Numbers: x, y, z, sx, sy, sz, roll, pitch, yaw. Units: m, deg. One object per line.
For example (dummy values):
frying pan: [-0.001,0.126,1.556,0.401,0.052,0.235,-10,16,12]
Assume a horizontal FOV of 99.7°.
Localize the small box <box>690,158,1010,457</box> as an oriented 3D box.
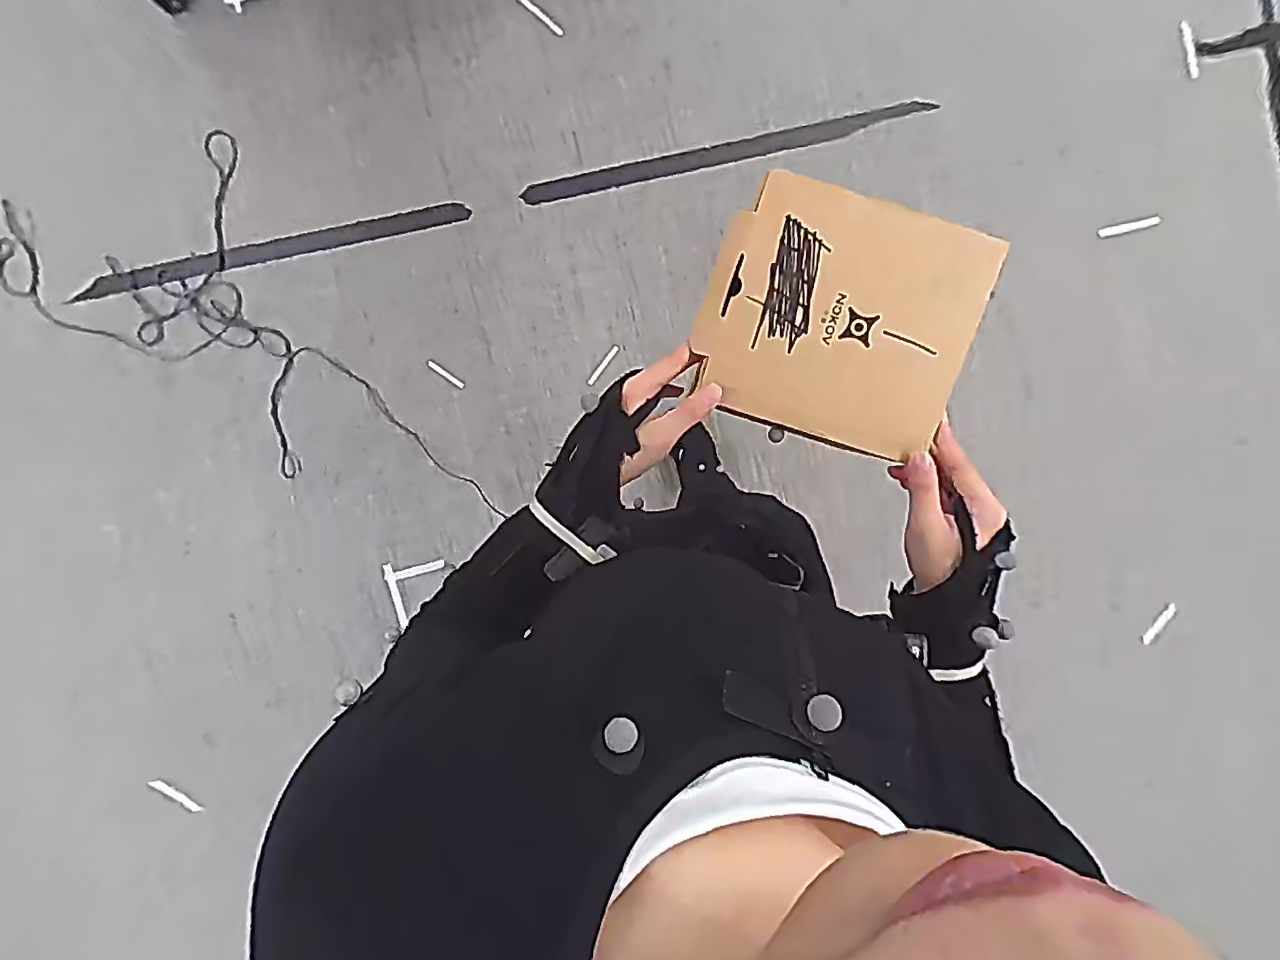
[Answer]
small box: [0.148,-0.127,0.455,0.179,0.176,0.168,17,99,-1]
